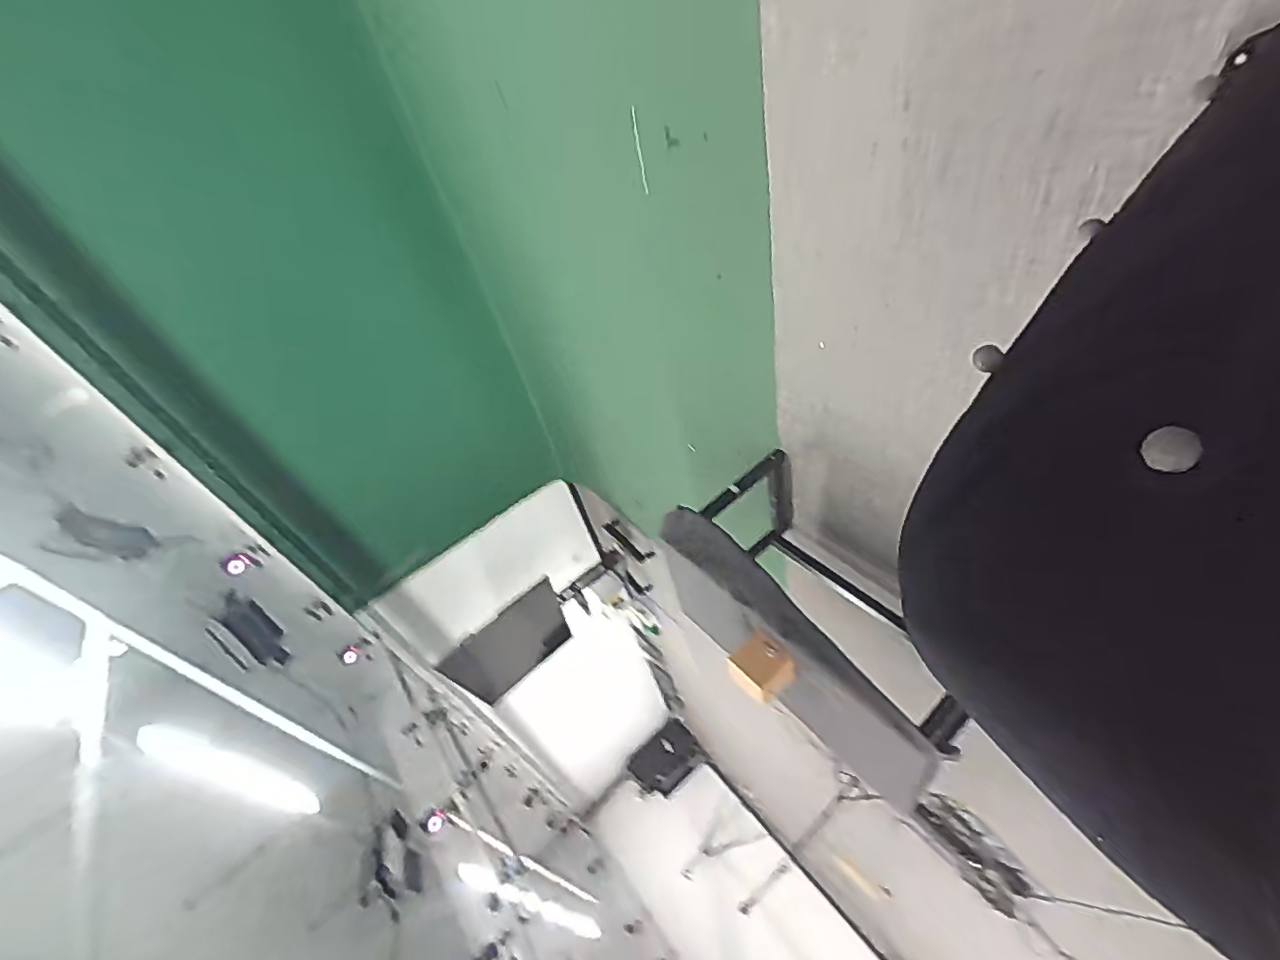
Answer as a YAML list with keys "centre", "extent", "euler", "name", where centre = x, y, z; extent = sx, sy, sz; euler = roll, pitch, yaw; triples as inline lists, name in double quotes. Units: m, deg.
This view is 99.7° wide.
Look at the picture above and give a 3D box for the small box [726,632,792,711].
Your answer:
- centre: [0.436, 0.695, 1.971]
  extent: [0.168, 0.176, 0.179]
  euler: [37, 153, 39]
  name: "small box"
